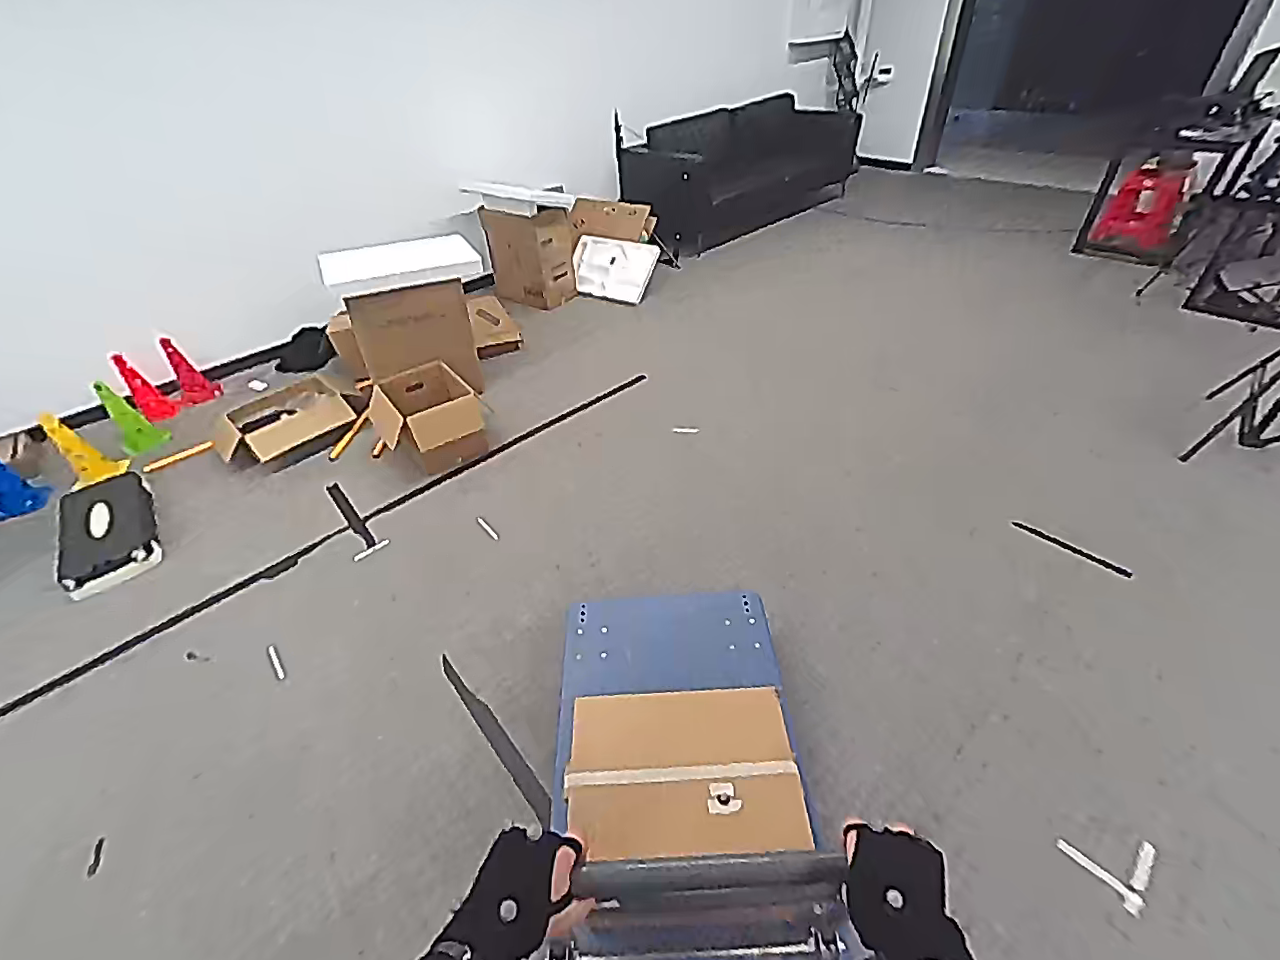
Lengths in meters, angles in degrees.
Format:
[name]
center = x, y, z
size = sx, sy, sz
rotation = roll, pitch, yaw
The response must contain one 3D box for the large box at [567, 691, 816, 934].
[large box]
center = 0.079, 0.645, 1.054
size = 0.408, 0.320, 0.320
rotation = -3, 41, 0
